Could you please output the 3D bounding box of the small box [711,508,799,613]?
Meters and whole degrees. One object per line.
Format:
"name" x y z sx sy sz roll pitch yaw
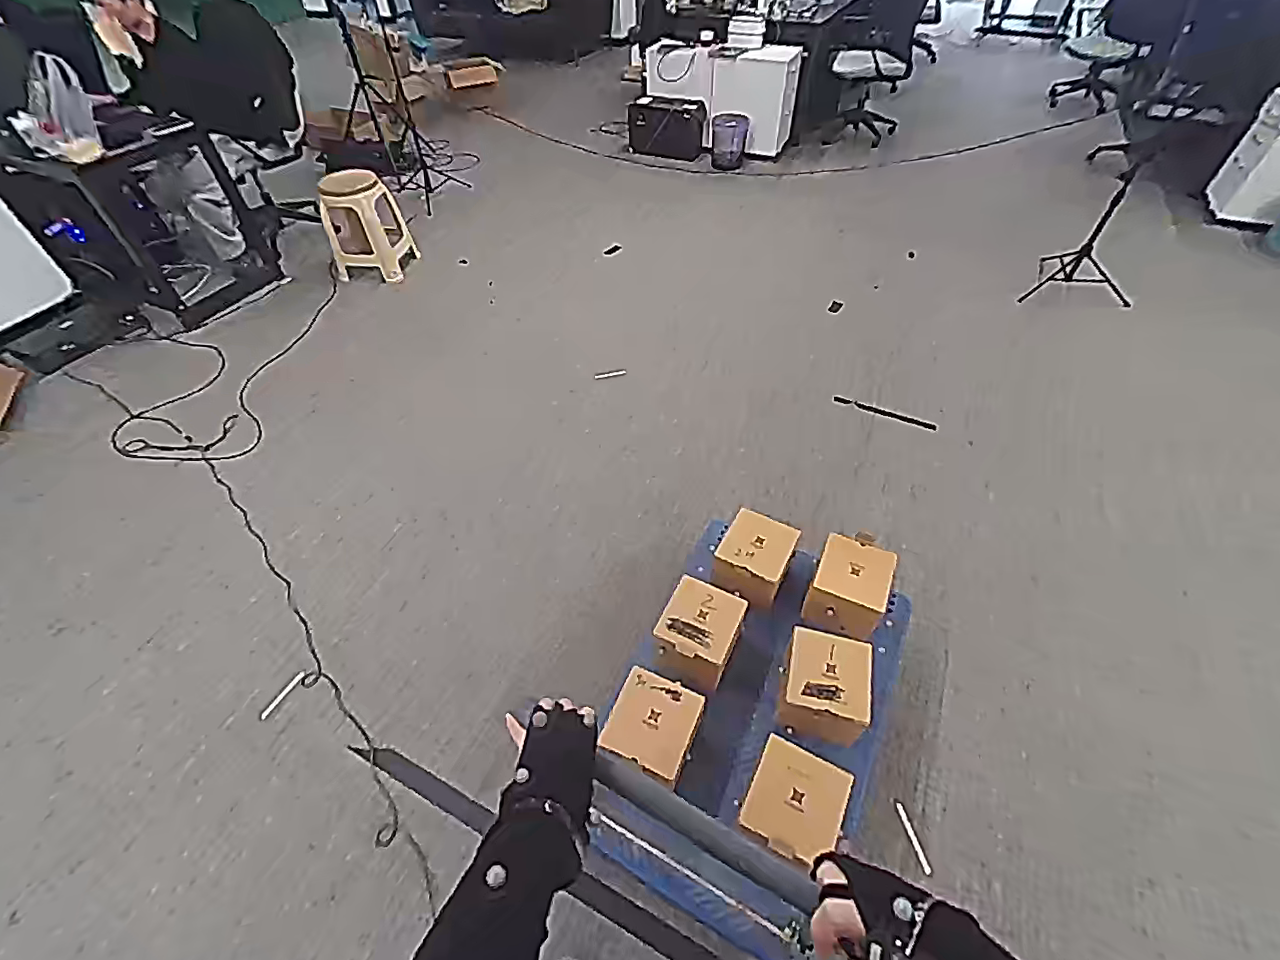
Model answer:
"small box" 0.294 0.212 1.419 0.168 0.176 0.179 23 54 21

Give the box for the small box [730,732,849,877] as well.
"small box" 0.285 0.637 1.057 0.168 0.176 0.179 23 53 19

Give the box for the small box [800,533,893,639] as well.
"small box" 0.516 0.271 1.364 0.168 0.176 0.179 20 52 18

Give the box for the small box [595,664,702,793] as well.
"small box" 0.022 0.533 1.151 0.168 0.176 0.179 20 53 16

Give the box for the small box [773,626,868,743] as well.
"small box" 0.398 0.459 1.205 0.168 0.176 0.179 12 50 12
